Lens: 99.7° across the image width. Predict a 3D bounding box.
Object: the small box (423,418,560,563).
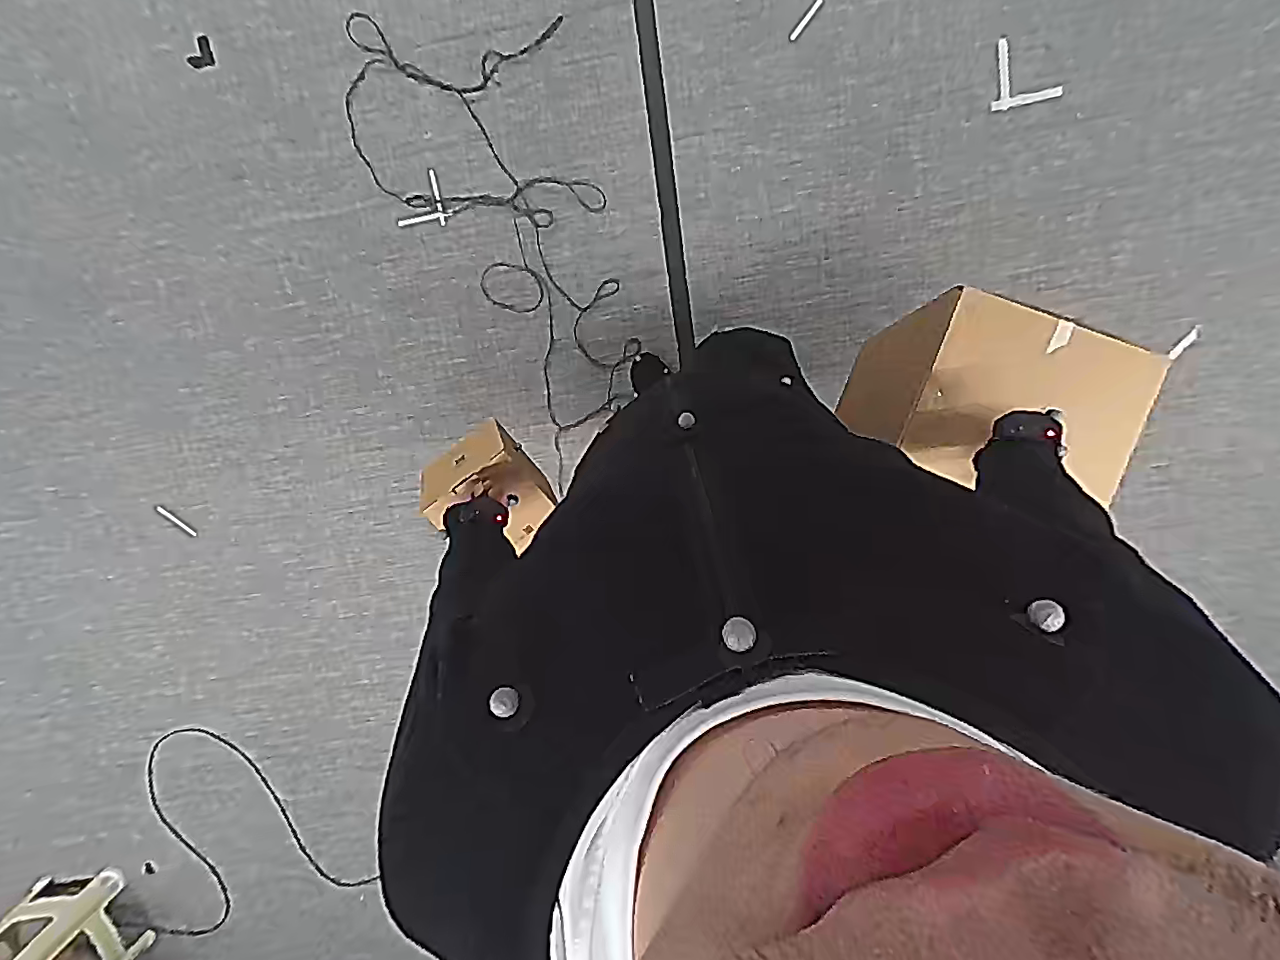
[{"bbox_3d":[-0.264,0.023,0.967,0.168,0.179,0.176,-37,122,-2],"label":"small box"}]
